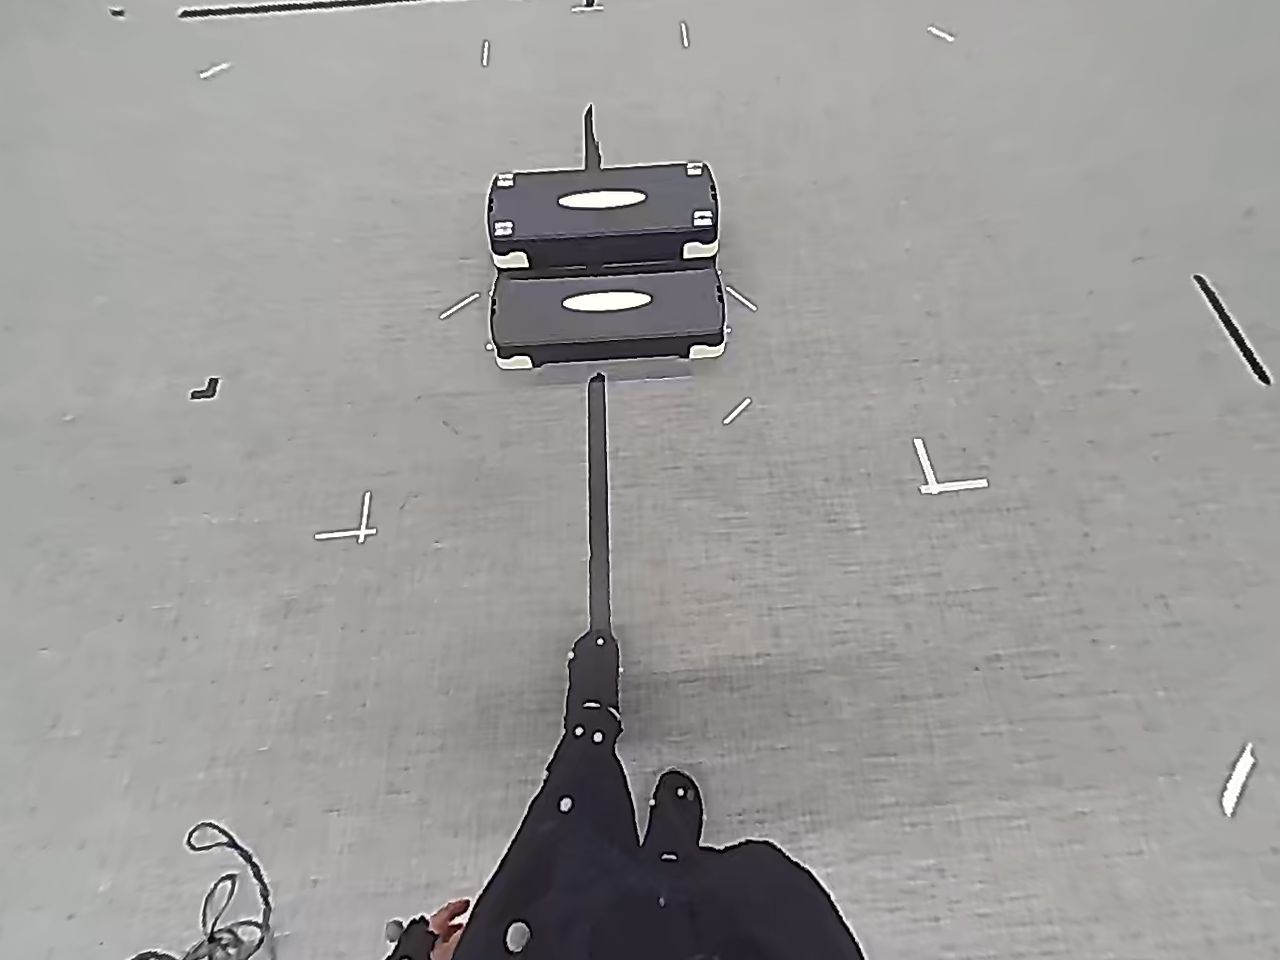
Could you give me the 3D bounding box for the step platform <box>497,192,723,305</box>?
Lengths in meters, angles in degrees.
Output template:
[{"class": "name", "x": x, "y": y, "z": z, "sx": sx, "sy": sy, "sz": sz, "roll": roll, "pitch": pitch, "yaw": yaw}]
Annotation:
[{"class": "step platform", "x": -0.089, "y": -0.719, "z": 1.669, "sx": 0.684, "sy": 0.204, "sz": 0.286, "roll": 0, "pitch": 65, "yaw": 1}]
